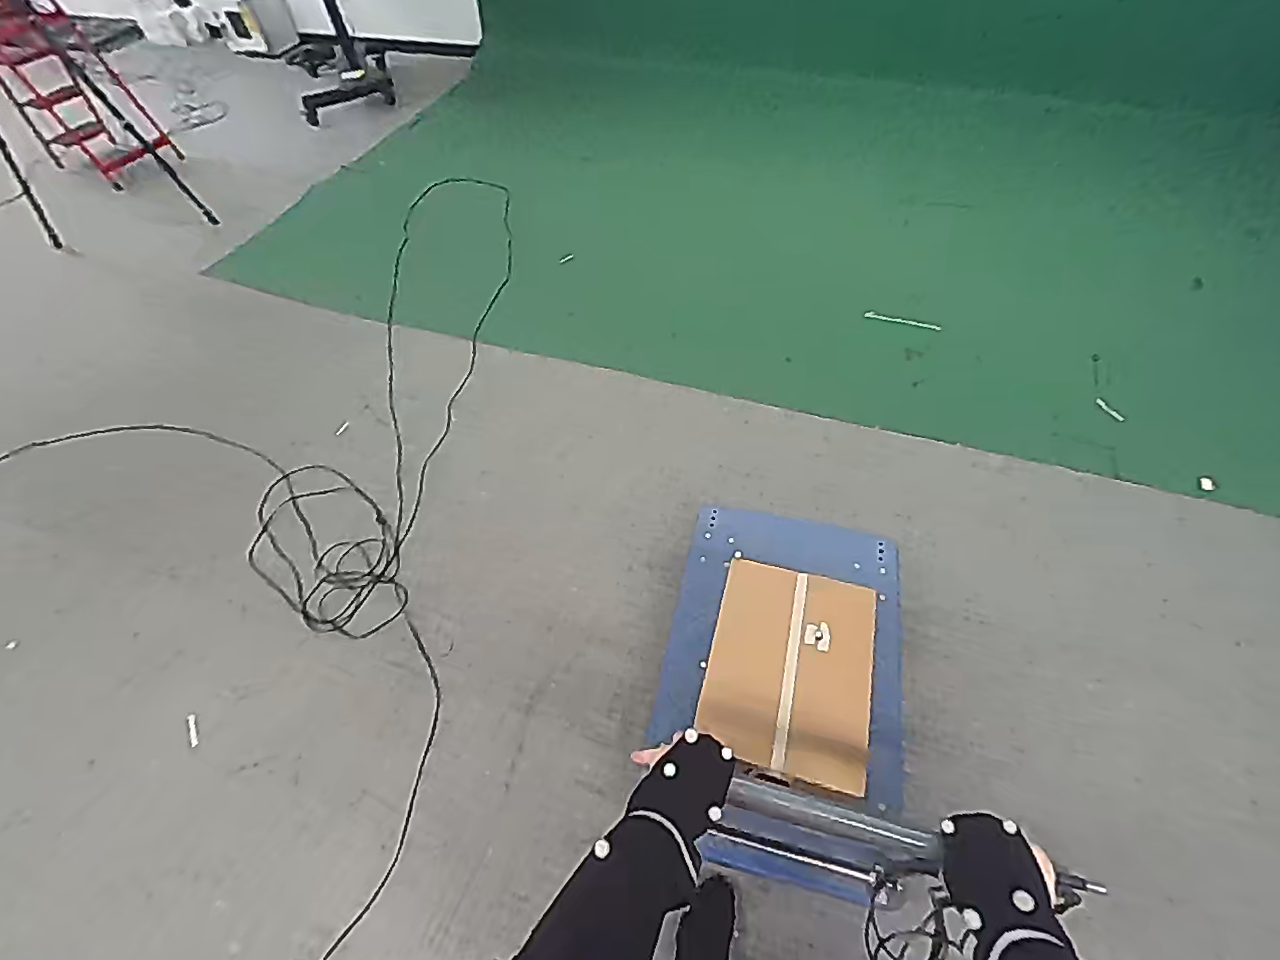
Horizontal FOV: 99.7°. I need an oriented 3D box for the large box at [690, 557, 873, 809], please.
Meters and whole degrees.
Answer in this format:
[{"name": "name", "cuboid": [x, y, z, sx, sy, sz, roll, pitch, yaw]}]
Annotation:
[{"name": "large box", "cuboid": [0.301, 0.445, 1.188, 0.320, 0.320, 0.408, 13, 56, 11]}]
